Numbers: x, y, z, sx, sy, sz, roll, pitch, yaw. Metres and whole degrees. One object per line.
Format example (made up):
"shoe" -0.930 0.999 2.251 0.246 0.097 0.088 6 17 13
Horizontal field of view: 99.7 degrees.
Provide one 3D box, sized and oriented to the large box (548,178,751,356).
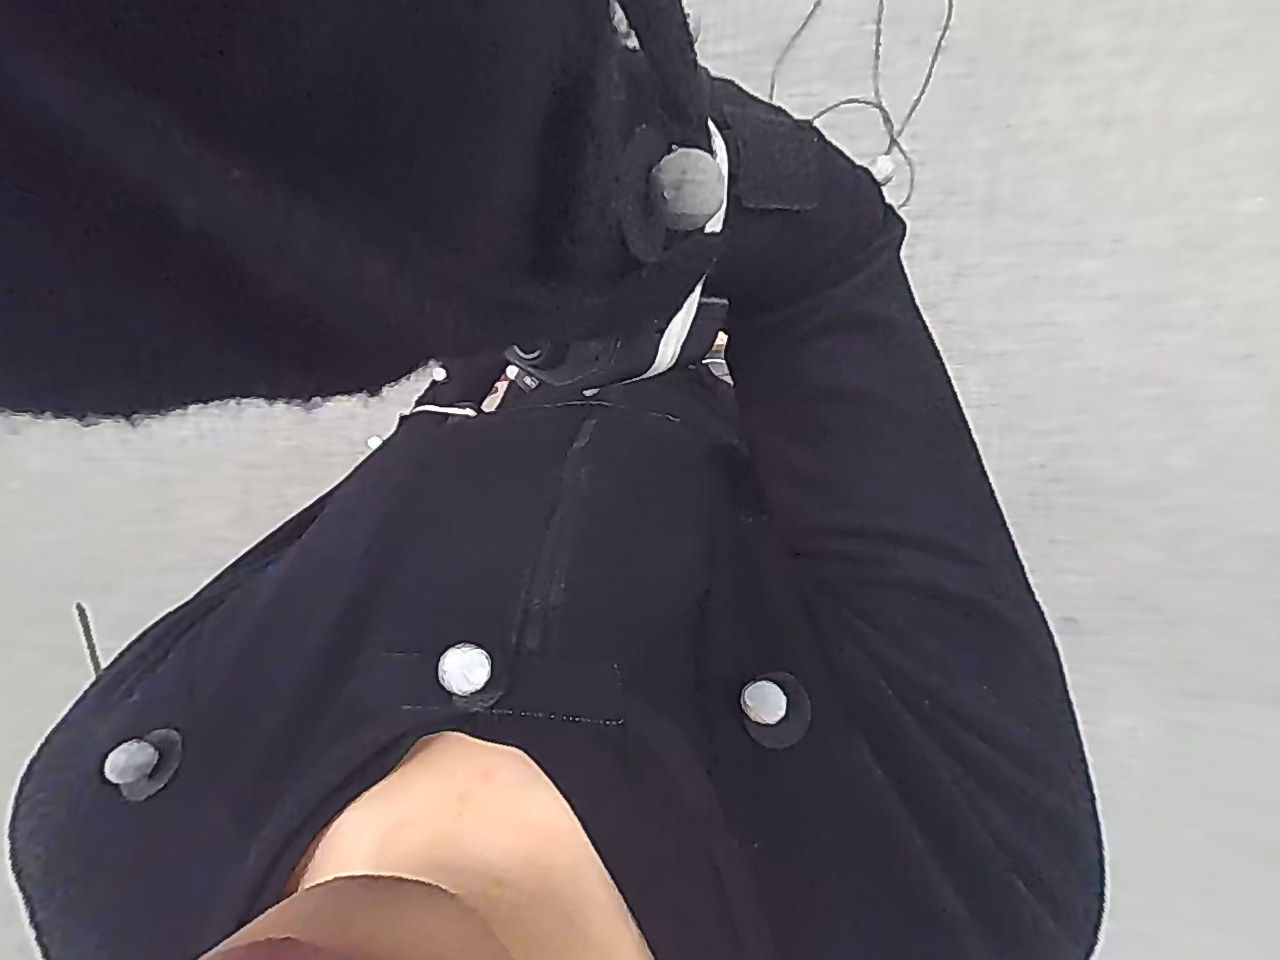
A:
"large box" 0.031 -0.453 1.229 0.408 0.320 0.320 -1 102 5
